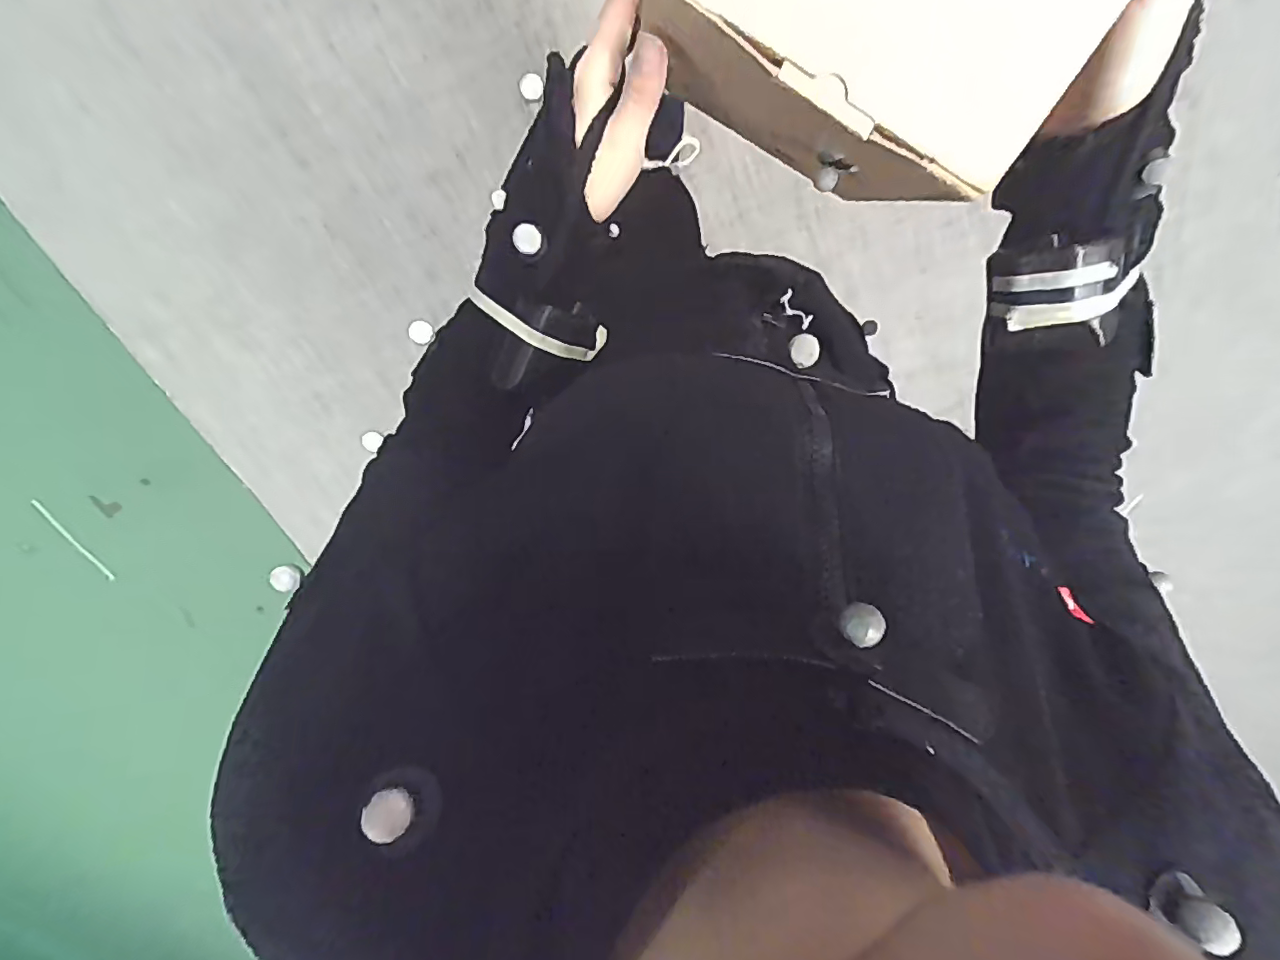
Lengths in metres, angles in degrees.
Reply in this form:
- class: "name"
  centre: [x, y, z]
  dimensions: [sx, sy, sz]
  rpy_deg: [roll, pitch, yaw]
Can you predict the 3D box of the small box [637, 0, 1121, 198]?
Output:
- class: "small box"
  centre: [0.108, -0.255, 0.247]
  dimensions: [0.168, 0.176, 0.179]
  rpy_deg: [23, 114, -13]
